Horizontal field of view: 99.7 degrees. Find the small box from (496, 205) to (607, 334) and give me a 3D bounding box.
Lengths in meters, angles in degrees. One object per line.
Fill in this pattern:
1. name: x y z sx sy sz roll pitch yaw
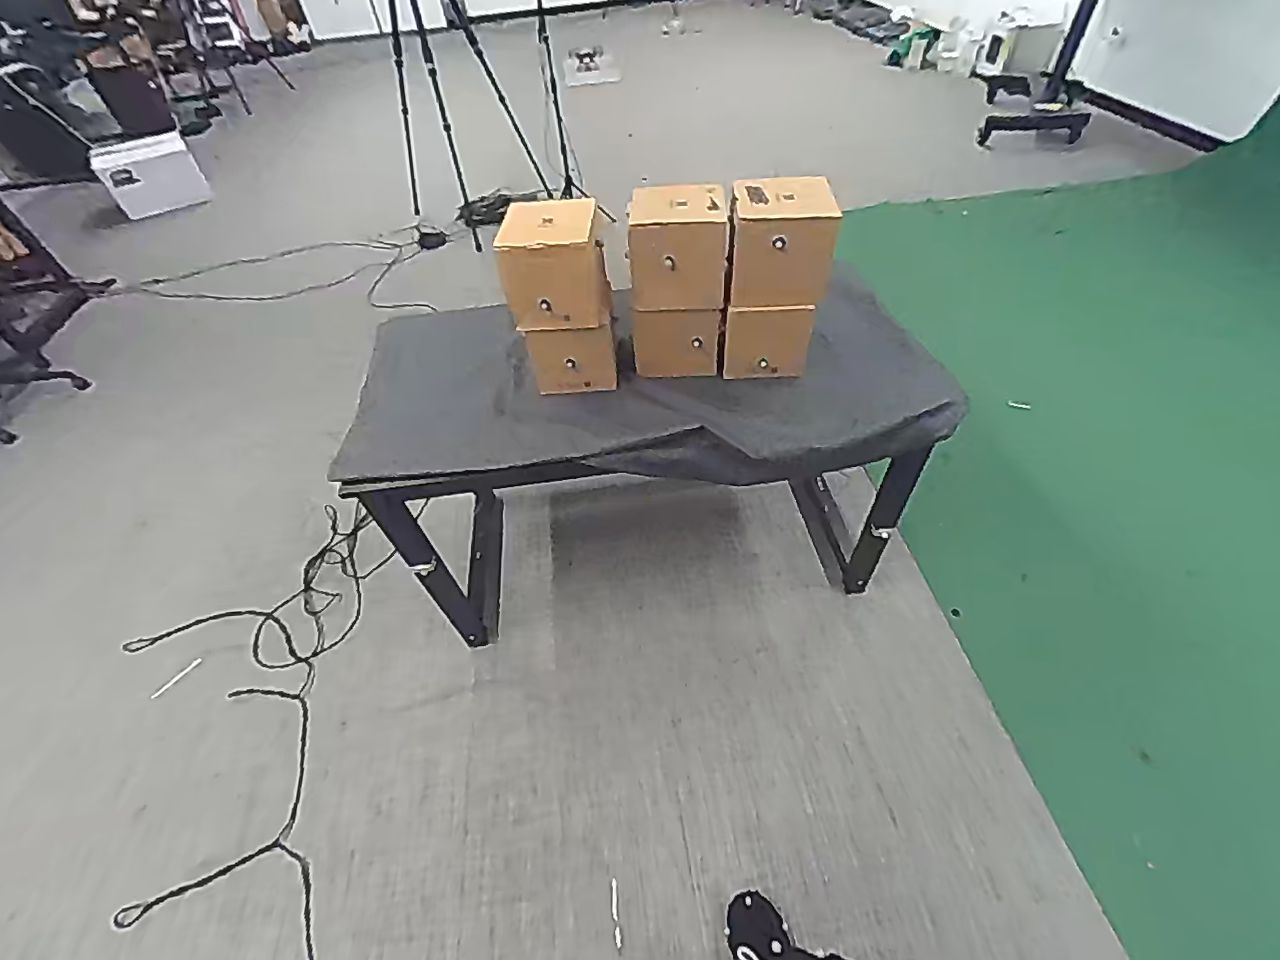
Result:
1. small box: -0.157 -0.400 1.032 0.168 0.176 0.179 -2 50 5
